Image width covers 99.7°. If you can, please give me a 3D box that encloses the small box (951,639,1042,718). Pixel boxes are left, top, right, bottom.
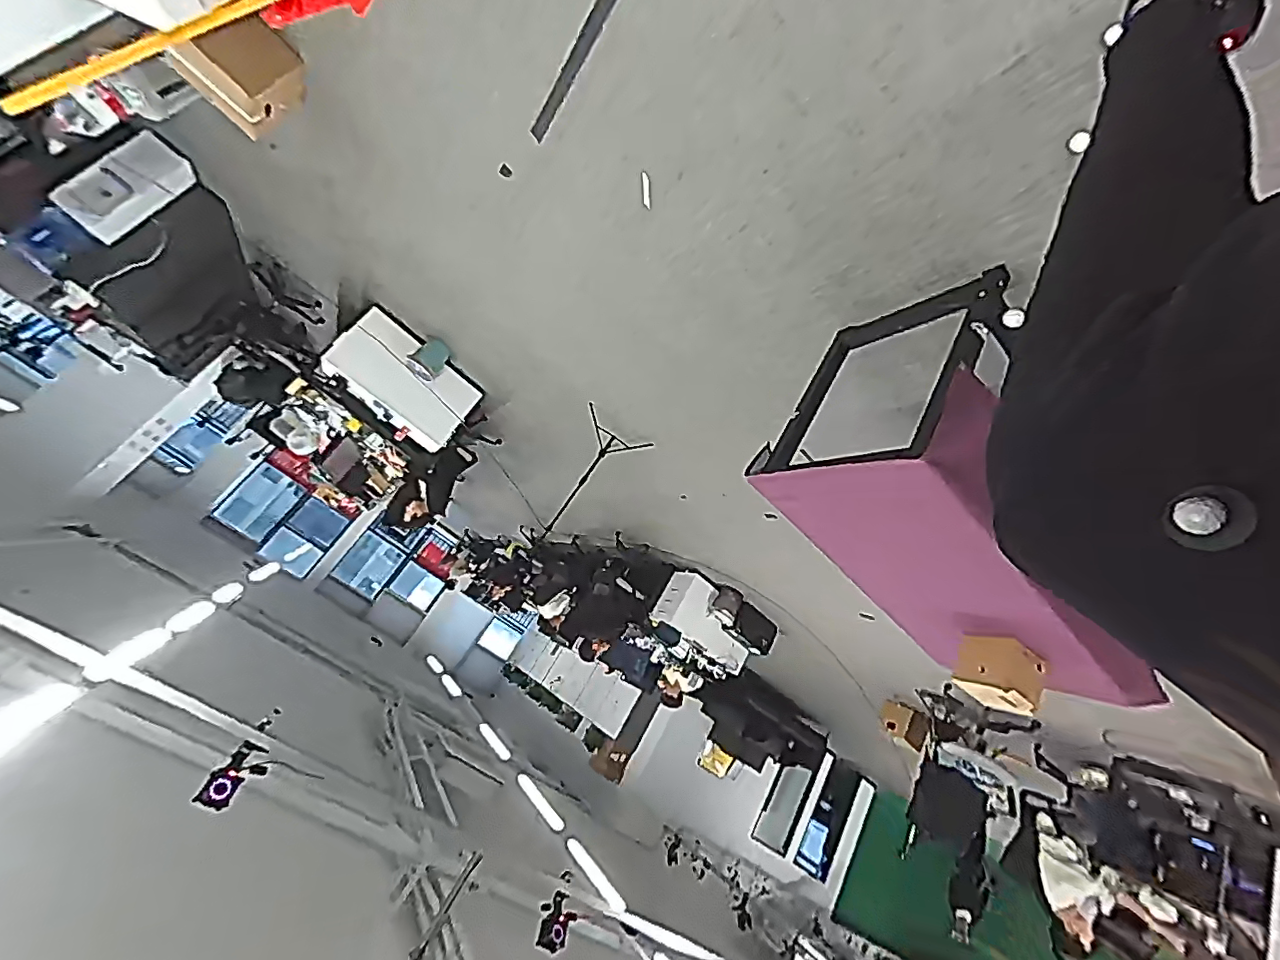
[{"bbox_3d":[1.144,0.626,1.726,0.168,0.176,0.179,37,159,-9],"label":"small box"}]
